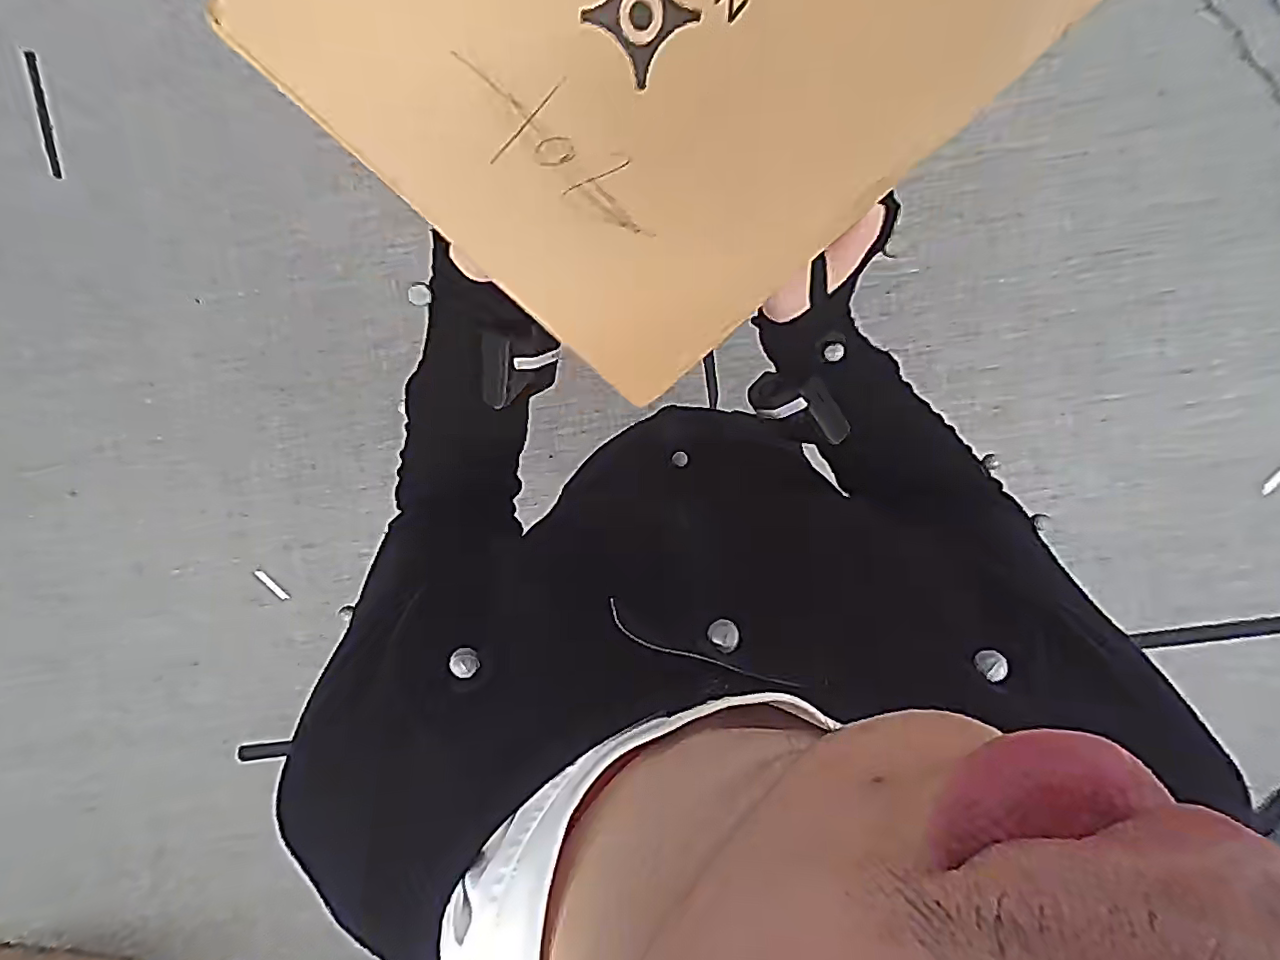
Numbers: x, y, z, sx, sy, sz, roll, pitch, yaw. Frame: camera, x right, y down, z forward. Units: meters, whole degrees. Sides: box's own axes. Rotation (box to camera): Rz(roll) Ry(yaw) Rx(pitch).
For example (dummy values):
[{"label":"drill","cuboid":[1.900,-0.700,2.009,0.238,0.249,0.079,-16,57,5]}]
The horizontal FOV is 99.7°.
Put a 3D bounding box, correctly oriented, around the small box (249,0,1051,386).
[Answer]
[{"label":"small box","cuboid":[0.004,-0.179,0.217,0.168,0.176,0.179,39,117,-21]}]
